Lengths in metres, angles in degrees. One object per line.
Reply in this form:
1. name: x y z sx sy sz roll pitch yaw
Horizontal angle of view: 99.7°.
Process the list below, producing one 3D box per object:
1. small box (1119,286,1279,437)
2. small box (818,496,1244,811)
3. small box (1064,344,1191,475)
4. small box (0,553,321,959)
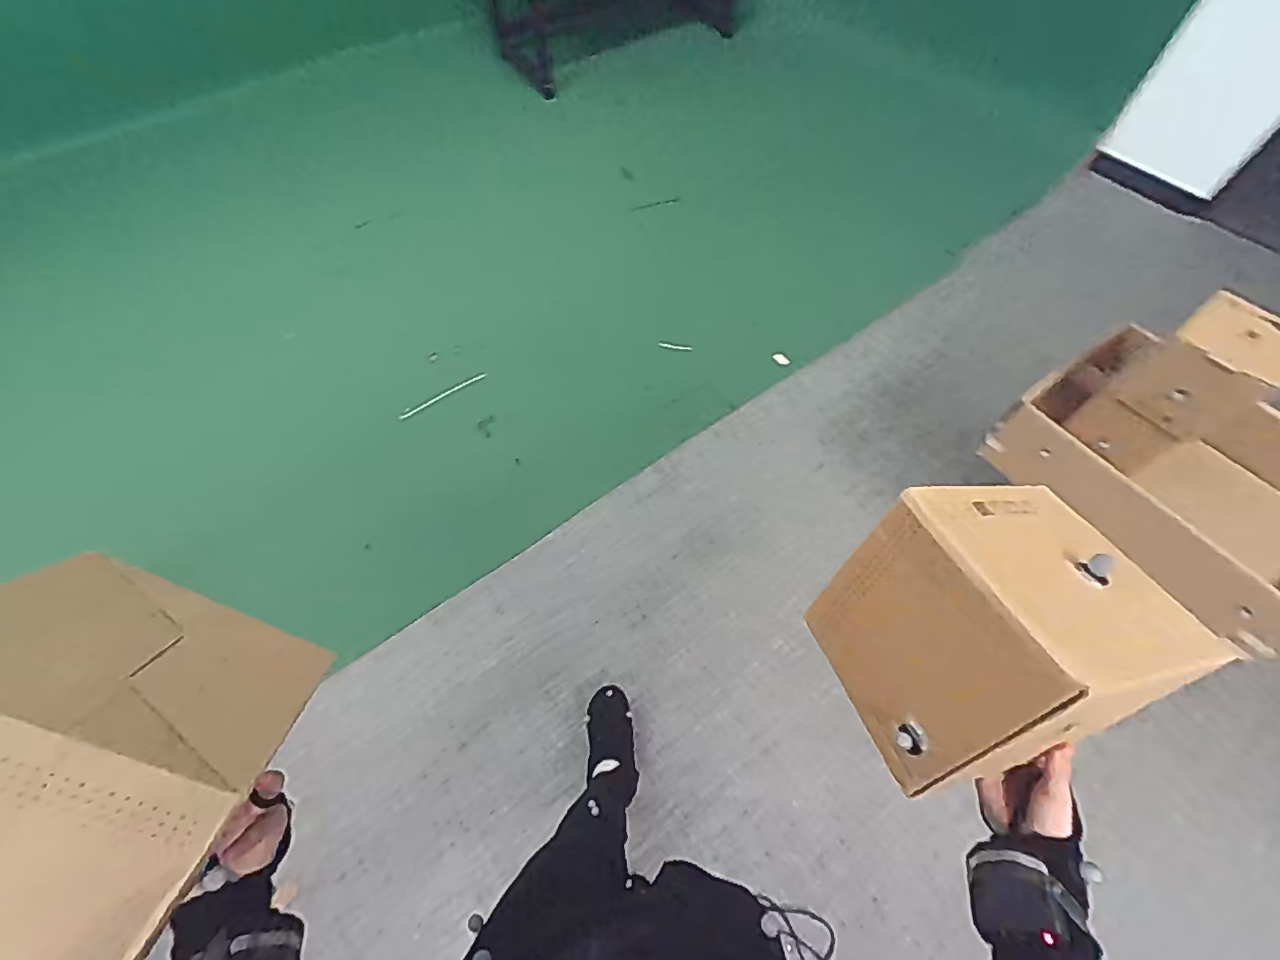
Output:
1. small box: 1.045 -0.211 0.992 0.179 0.176 0.168 -36 66 -15
2. small box: 0.273 0.126 0.427 0.168 0.179 0.176 0 45 -21
3. small box: 1.058 -0.146 1.143 0.179 0.176 0.168 -36 65 -16
4. small box: -0.327 0.171 0.325 0.179 0.168 0.176 33 88 -16
